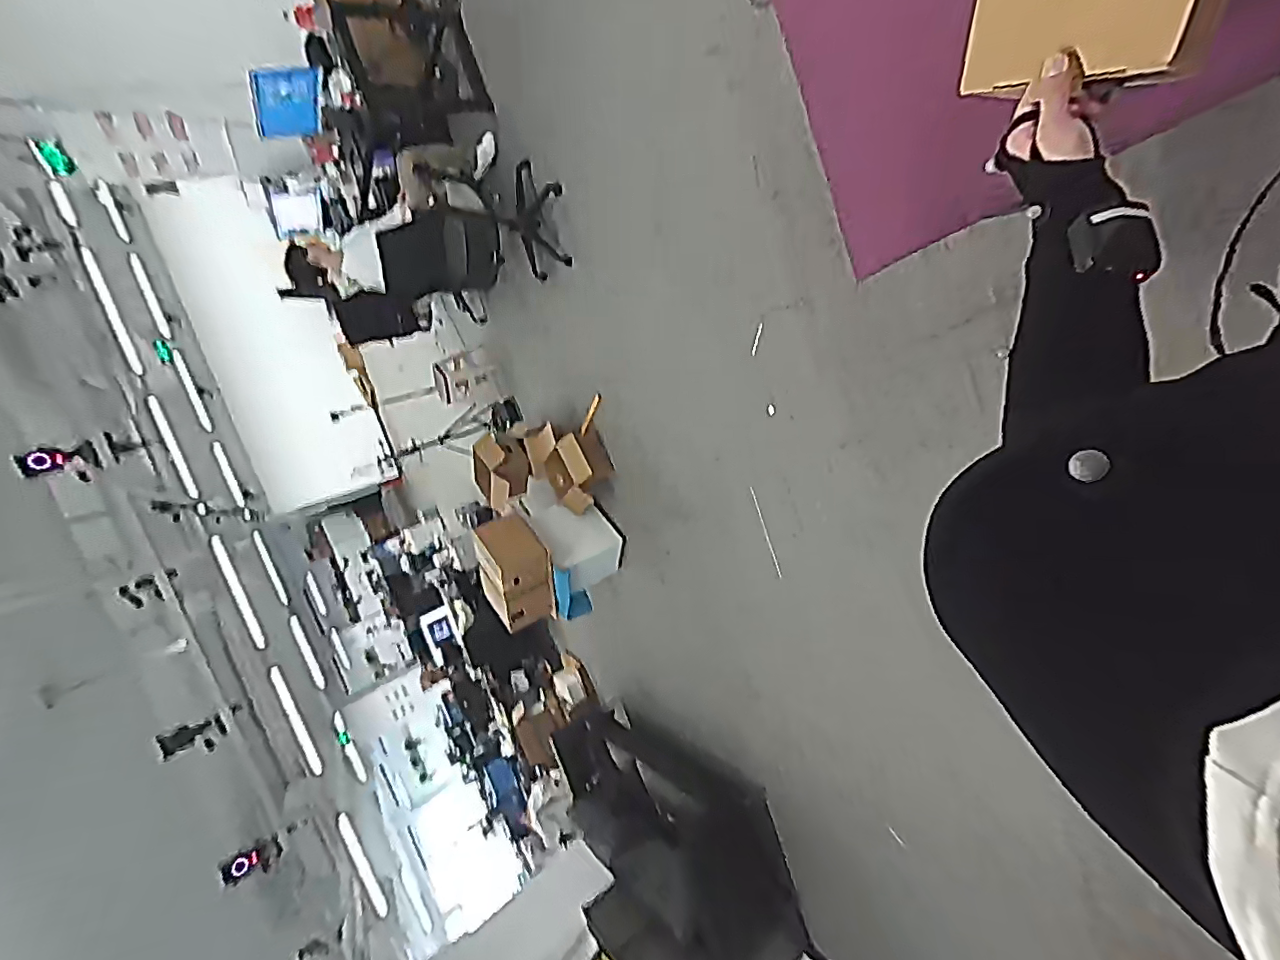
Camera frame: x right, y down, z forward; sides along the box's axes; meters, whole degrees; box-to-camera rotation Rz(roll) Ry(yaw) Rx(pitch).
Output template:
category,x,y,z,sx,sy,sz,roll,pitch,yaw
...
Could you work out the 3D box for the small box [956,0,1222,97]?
category,x,y,z,sx,sy,sz,roll,pitch,yaw
small box,0.434,-0.470,0.504,0.168,0.176,0.179,27,131,40
